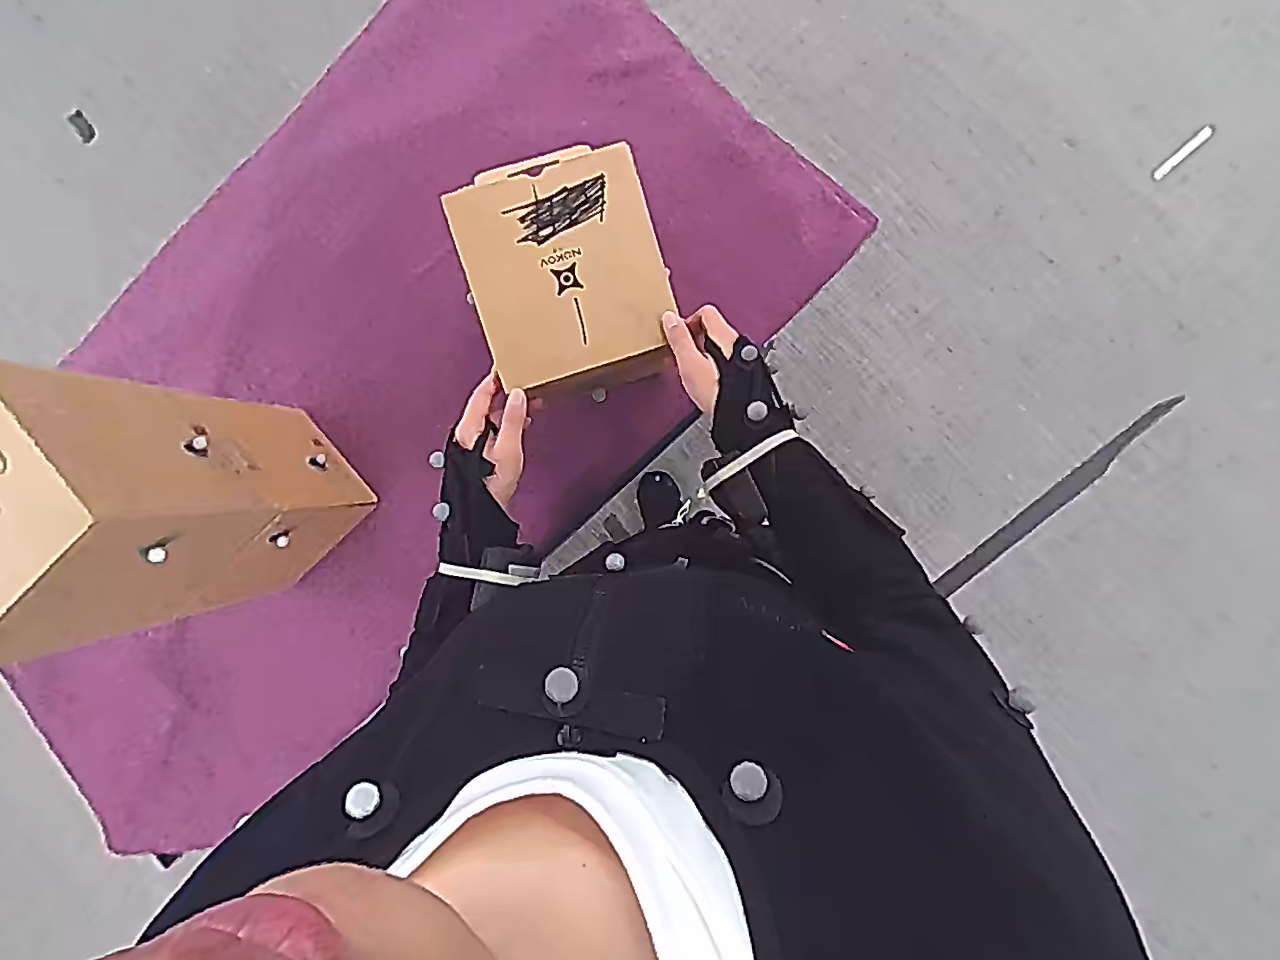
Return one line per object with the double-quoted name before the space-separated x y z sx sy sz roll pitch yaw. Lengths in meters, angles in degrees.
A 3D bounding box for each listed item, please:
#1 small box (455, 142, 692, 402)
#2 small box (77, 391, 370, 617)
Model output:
"small box" -0.060 -0.187 0.539 0.168 0.176 0.179 -17 95 -1
"small box" -0.464 0.026 0.630 0.179 0.176 0.168 -42 85 5
